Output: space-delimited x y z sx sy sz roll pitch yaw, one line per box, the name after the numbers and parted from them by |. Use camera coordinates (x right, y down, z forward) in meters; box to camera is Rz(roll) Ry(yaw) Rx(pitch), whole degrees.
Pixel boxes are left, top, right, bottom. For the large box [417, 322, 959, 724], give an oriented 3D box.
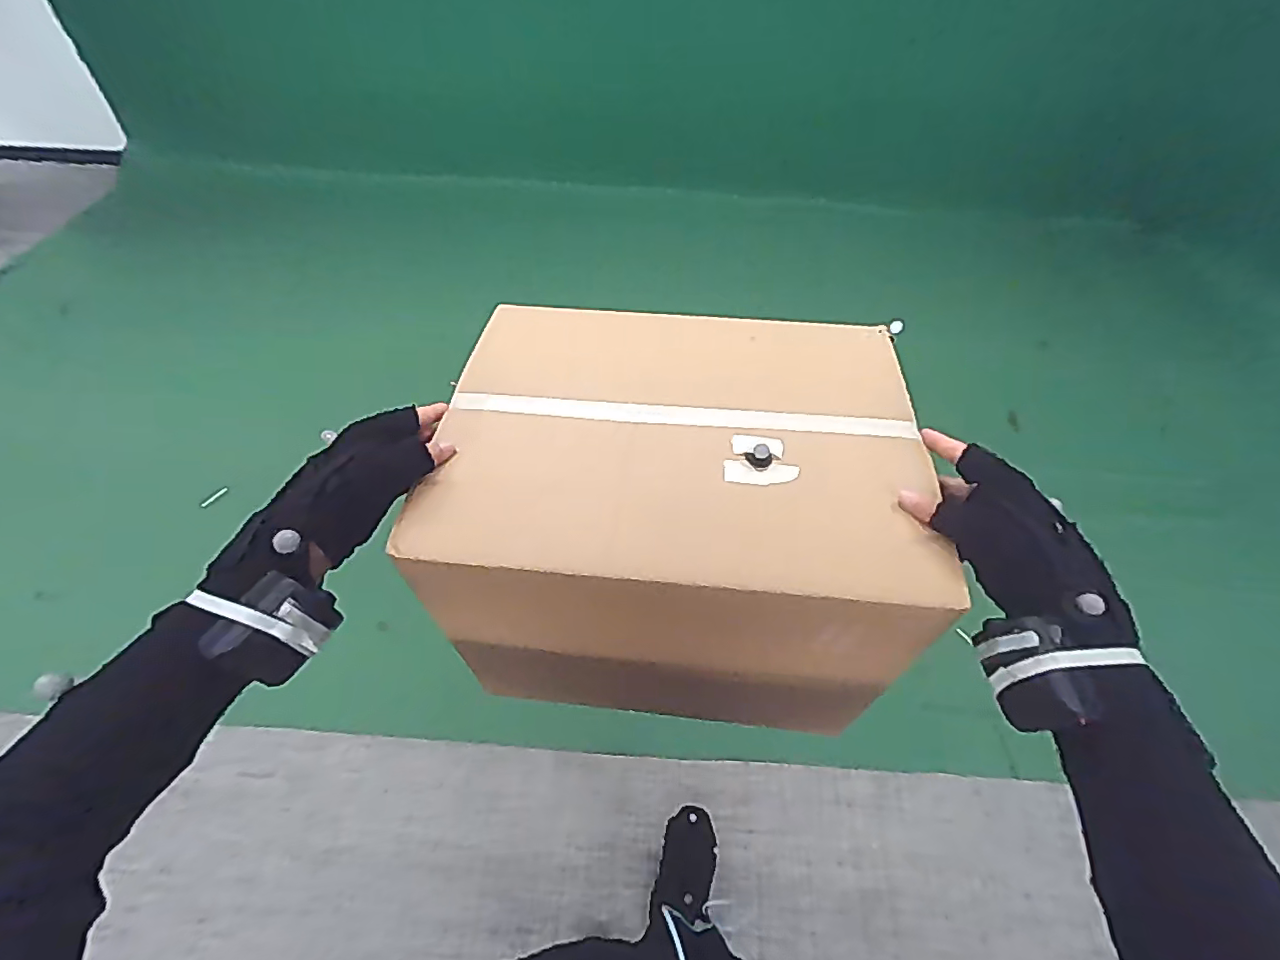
0.040 0.052 0.597 0.408 0.320 0.320 5 51 3 | large box
